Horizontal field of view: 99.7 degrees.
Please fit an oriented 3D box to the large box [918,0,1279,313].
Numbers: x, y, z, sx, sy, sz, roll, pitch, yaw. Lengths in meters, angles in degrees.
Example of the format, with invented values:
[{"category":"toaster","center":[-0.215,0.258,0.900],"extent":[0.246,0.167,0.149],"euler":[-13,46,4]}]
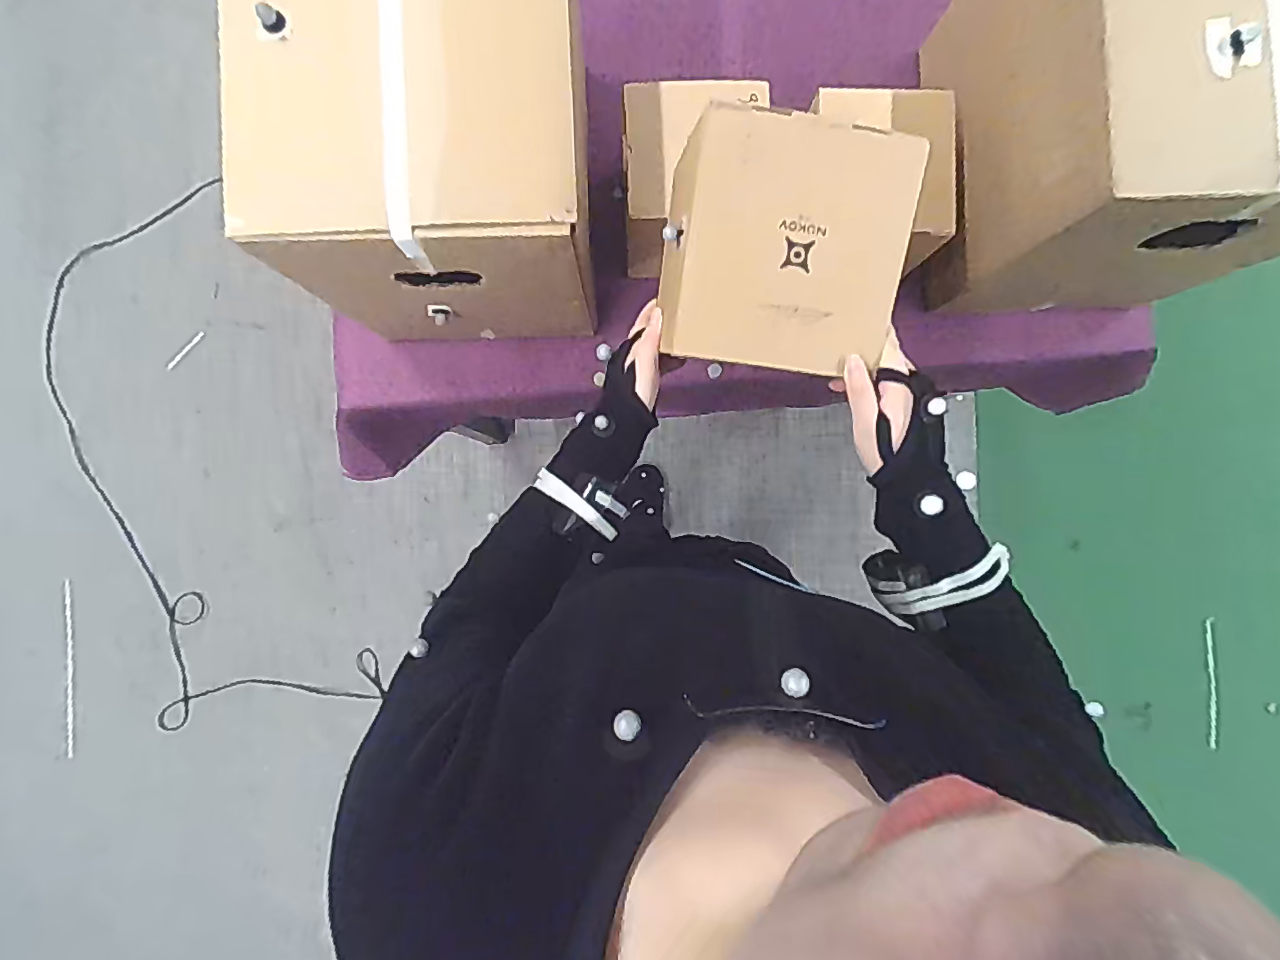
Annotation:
[{"category":"large box","center":[0.580,-0.453,0.669],"extent":[0.320,0.320,0.408],"euler":[-1,89,-2]}]
